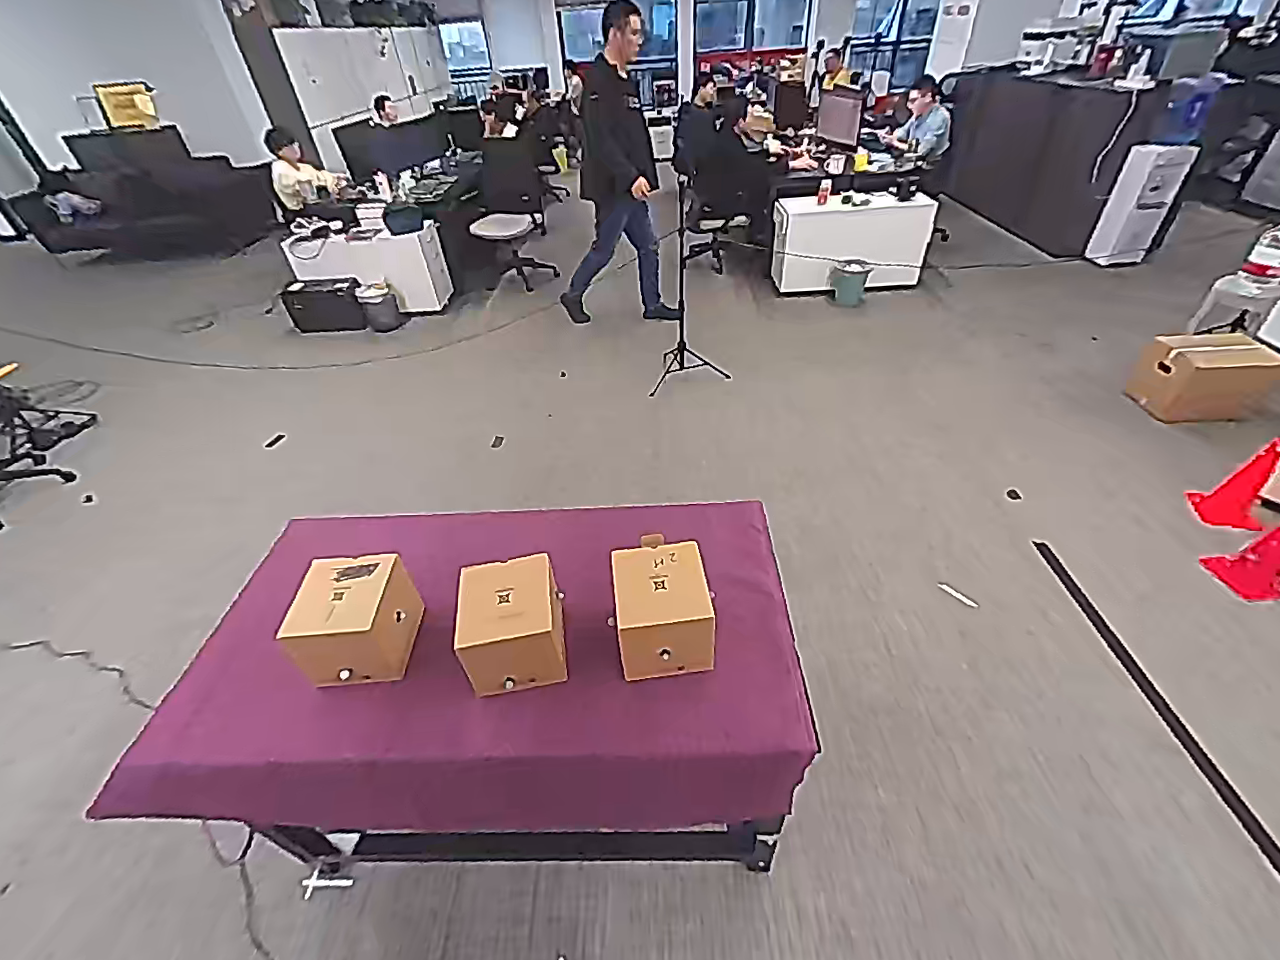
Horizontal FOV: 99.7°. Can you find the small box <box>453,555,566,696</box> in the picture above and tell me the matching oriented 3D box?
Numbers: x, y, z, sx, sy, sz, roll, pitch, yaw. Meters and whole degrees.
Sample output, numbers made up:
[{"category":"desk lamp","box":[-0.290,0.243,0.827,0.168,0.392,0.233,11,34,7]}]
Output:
[{"category":"small box","box":[-0.234,0.269,1.004,0.168,0.176,0.179,-10,40,-4]}]

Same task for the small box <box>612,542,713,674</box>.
[{"category":"small box","box":[0.042,0.243,1.004,0.168,0.176,0.179,-6,40,-2]}]

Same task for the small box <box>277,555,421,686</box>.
[{"category":"small box","box":[-0.538,0.268,1.034,0.168,0.176,0.179,-5,41,0]}]
